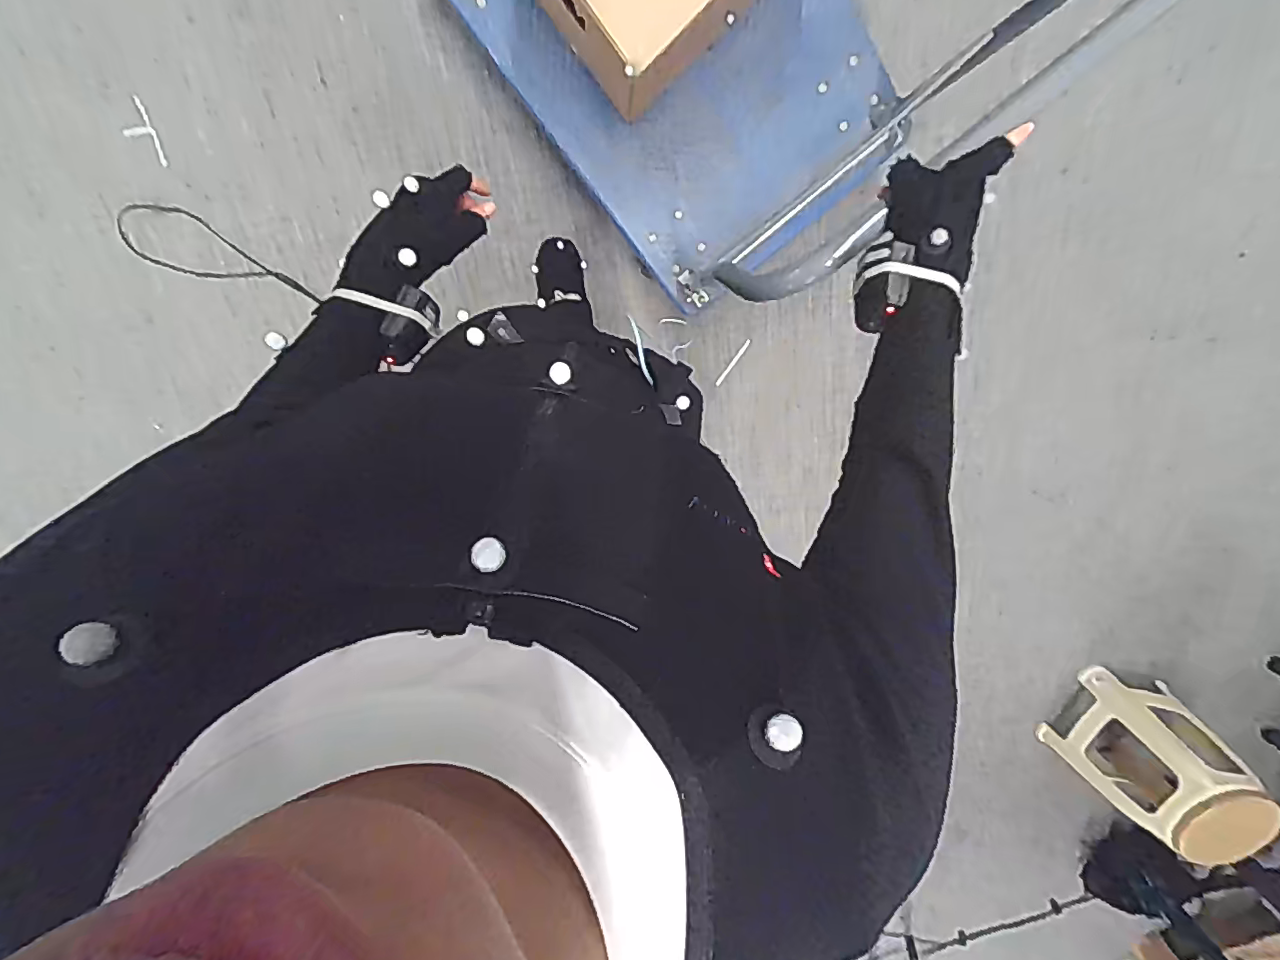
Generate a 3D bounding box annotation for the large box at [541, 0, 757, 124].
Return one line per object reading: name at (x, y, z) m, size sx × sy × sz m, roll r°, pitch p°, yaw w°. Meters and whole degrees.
large box at (0.048, -0.865, 0.838) m, size 0.408 × 0.320 × 0.320 m, roll -40°, pitch 108°, yaw 14°
